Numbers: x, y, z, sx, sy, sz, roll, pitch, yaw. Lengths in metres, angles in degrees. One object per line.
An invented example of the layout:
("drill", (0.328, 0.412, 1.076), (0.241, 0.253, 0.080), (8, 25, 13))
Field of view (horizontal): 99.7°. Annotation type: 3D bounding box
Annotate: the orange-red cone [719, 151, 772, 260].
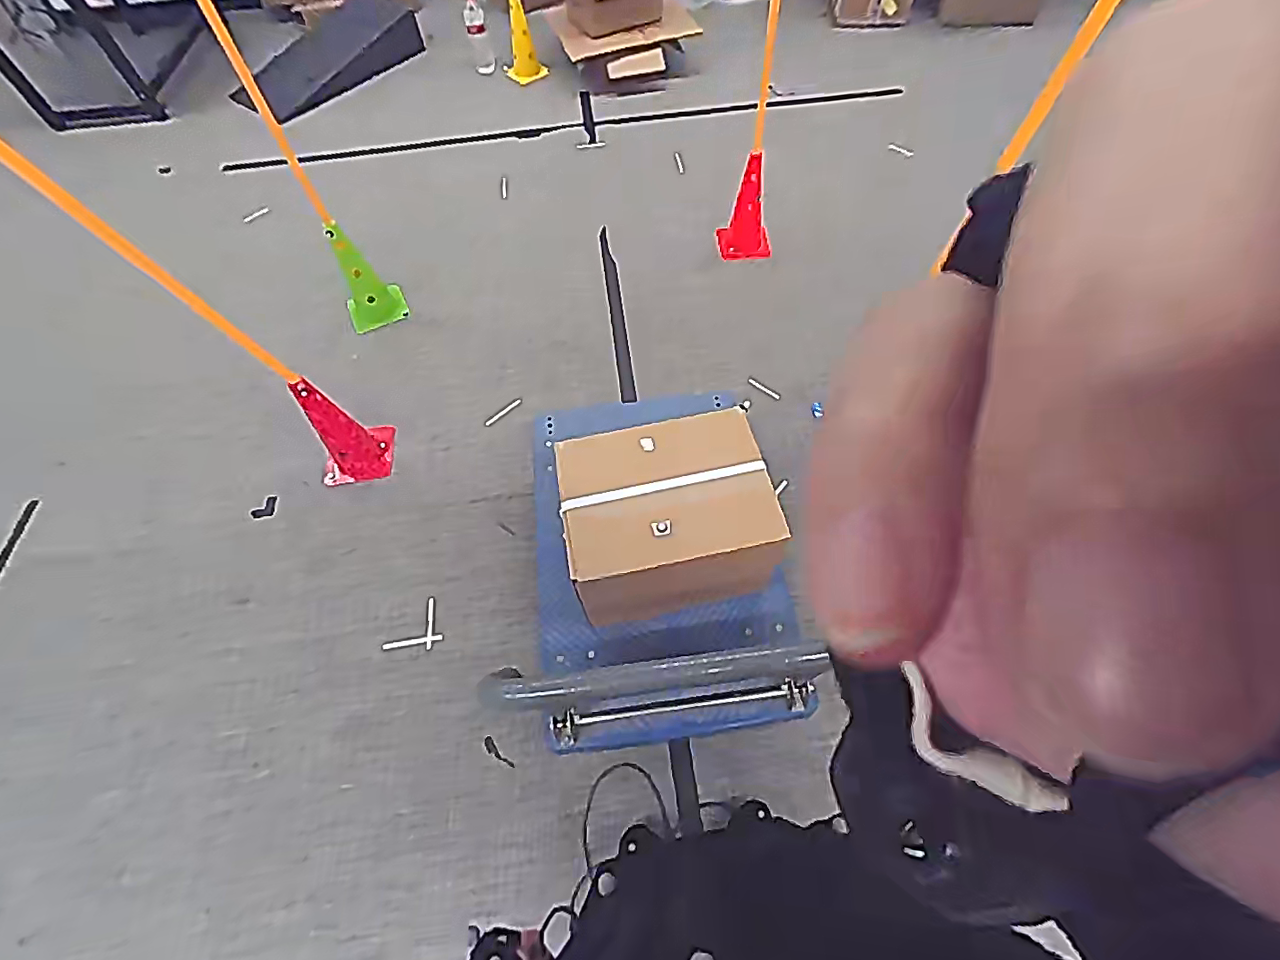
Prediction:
("orange-red cone", (0.414, -1.033, 2.009), (0.199, 0.360, 0.198), (-2, 60, 0))
